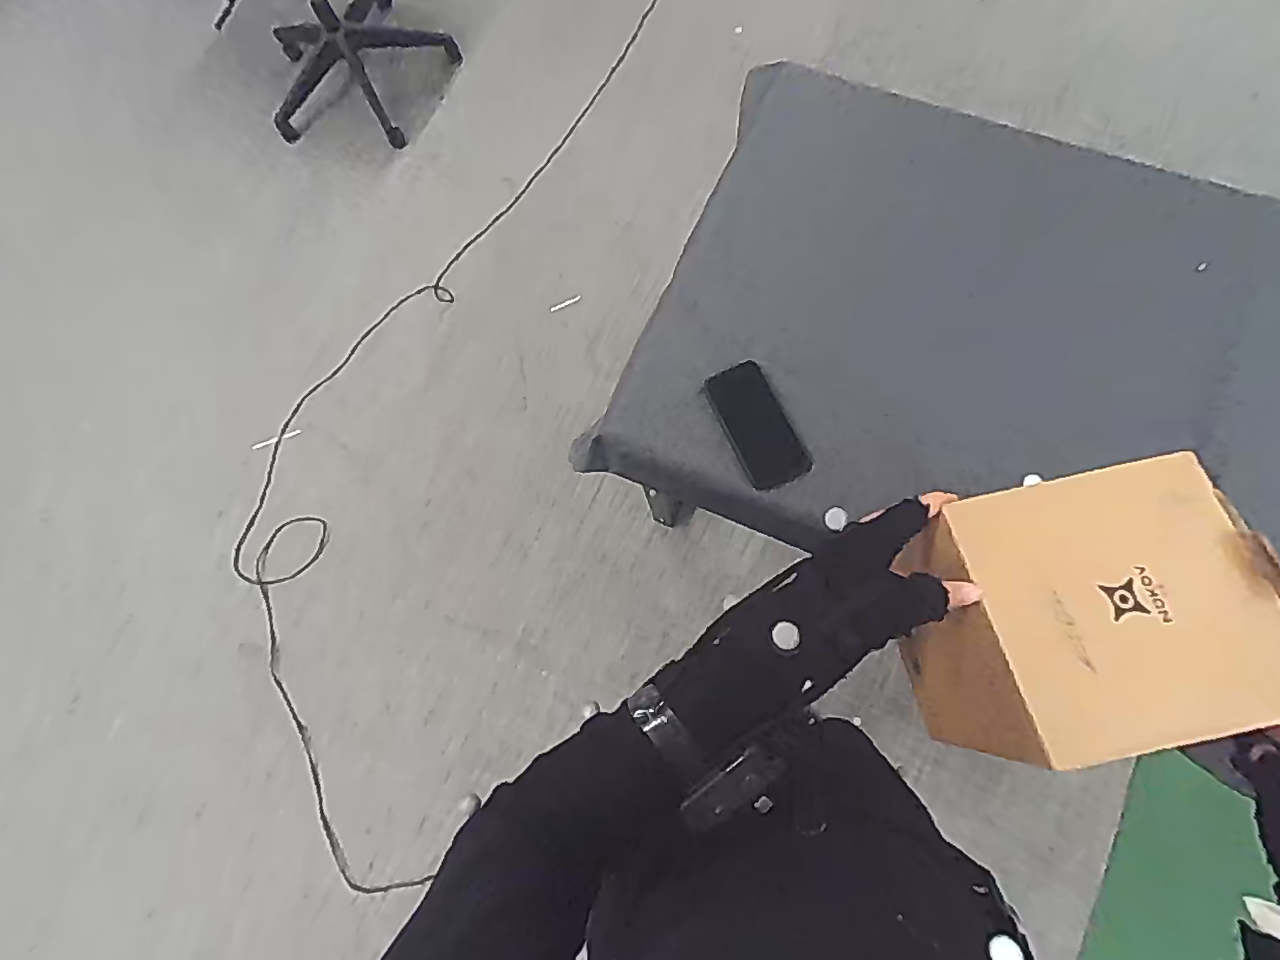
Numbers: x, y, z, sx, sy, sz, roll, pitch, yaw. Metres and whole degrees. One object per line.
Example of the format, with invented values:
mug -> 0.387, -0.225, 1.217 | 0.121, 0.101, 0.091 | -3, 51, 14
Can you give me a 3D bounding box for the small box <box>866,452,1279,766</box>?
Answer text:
small box -> 0.305, 0.099, 0.411 | 0.179, 0.176, 0.168 | -13, 68, 0
